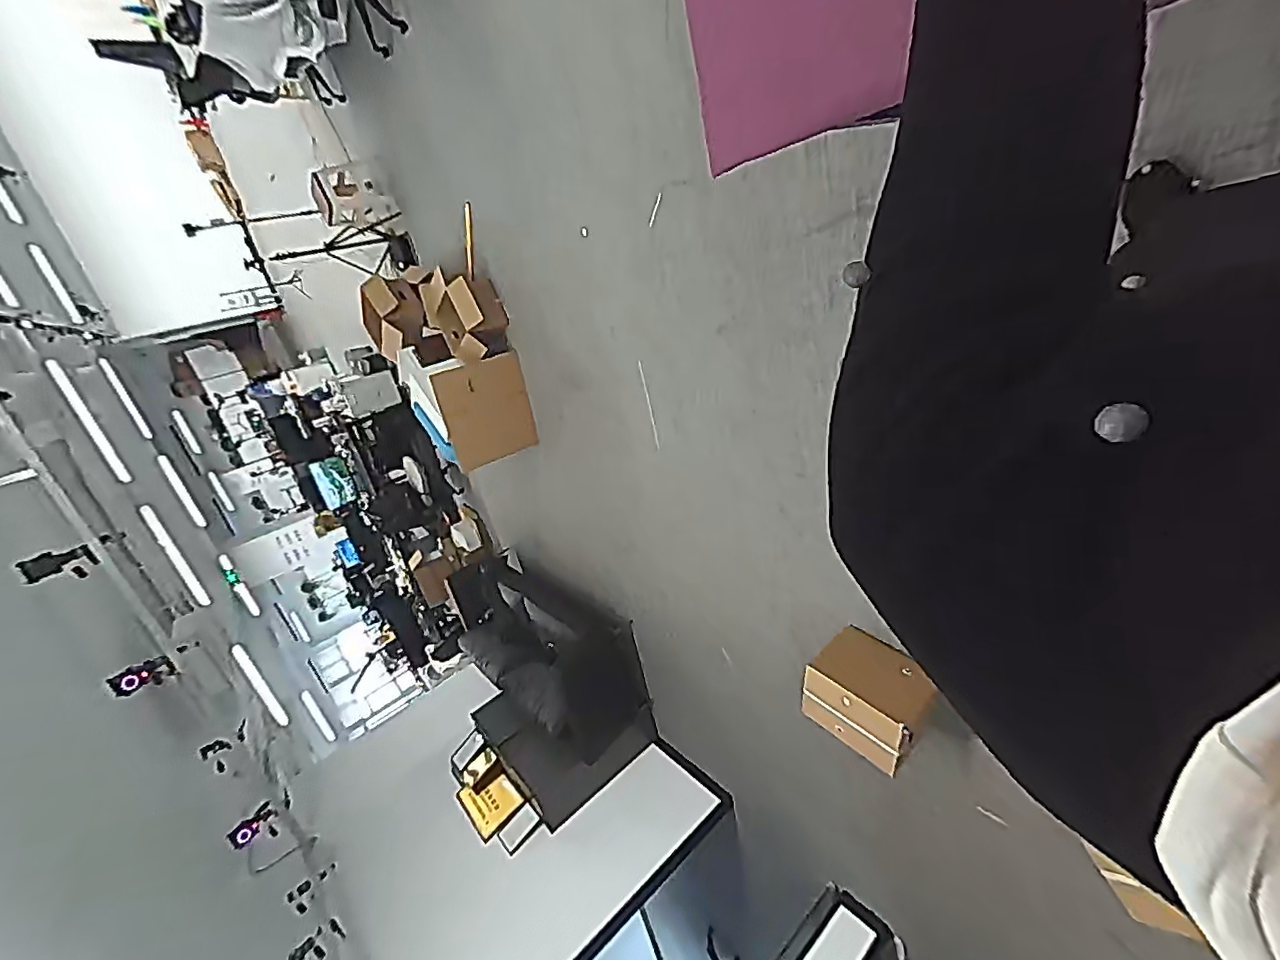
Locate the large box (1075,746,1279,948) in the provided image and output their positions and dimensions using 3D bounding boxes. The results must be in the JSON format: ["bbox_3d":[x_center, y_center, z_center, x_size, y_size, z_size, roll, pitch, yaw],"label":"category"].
[{"bbox_3d":[1.513,0.955,1.450,0.320,0.320,0.408,58,147,5],"label":"large box"}]
